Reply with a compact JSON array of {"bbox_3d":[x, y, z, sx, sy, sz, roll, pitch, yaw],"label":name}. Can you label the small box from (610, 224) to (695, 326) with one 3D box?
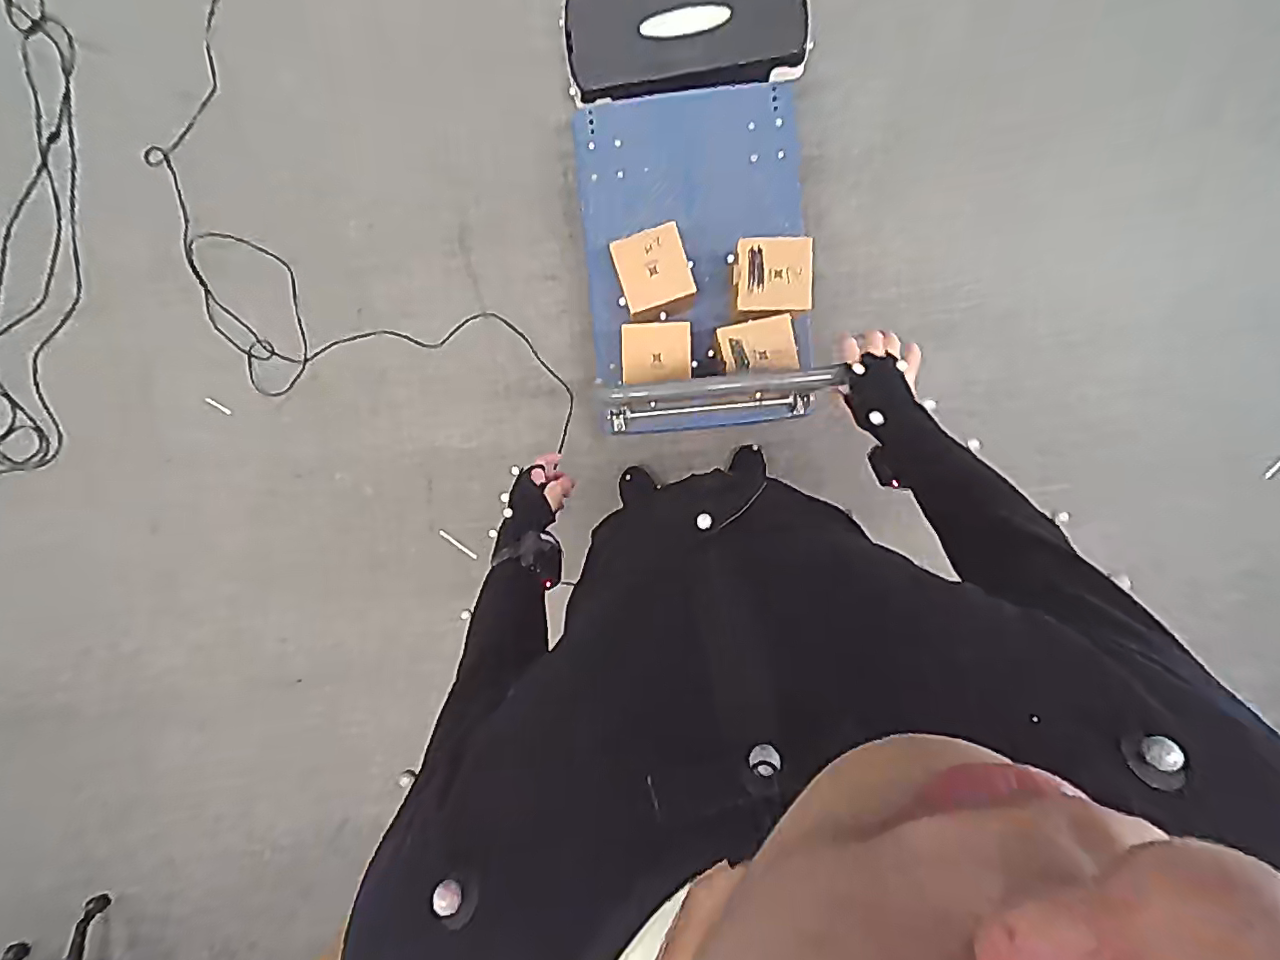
[{"bbox_3d":[0.034,-0.498,1.349,0.168,0.176,0.179,-18,92,3],"label":"small box"}]
